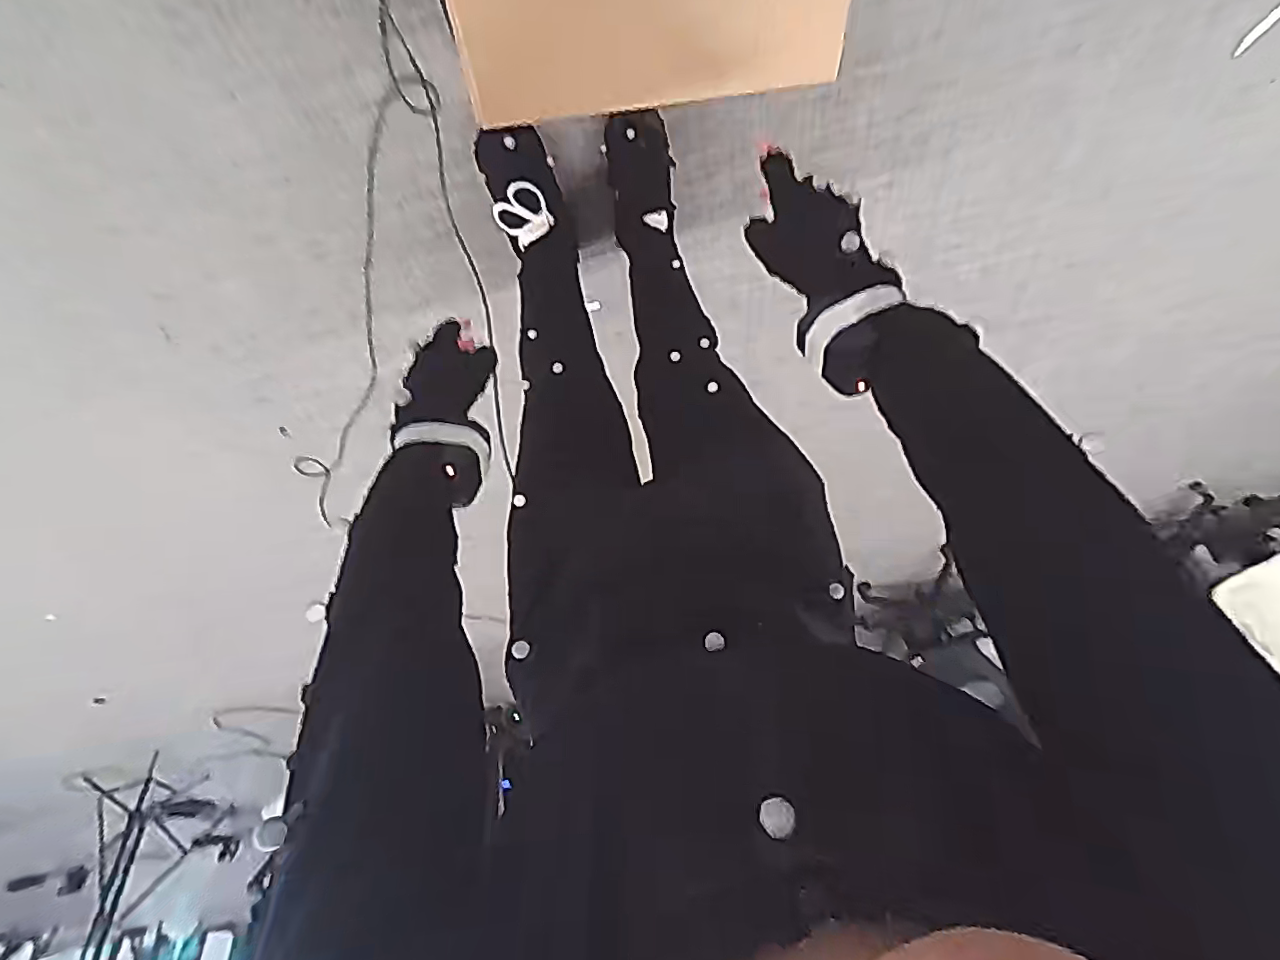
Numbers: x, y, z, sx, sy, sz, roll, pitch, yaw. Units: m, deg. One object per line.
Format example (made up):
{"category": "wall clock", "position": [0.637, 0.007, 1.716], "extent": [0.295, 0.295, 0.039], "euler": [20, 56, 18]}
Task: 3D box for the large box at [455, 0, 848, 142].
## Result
{"category": "large box", "position": [-0.009, -0.621, 0.591], "extent": [0.408, 0.320, 0.320], "euler": [-10, 142, -3]}
